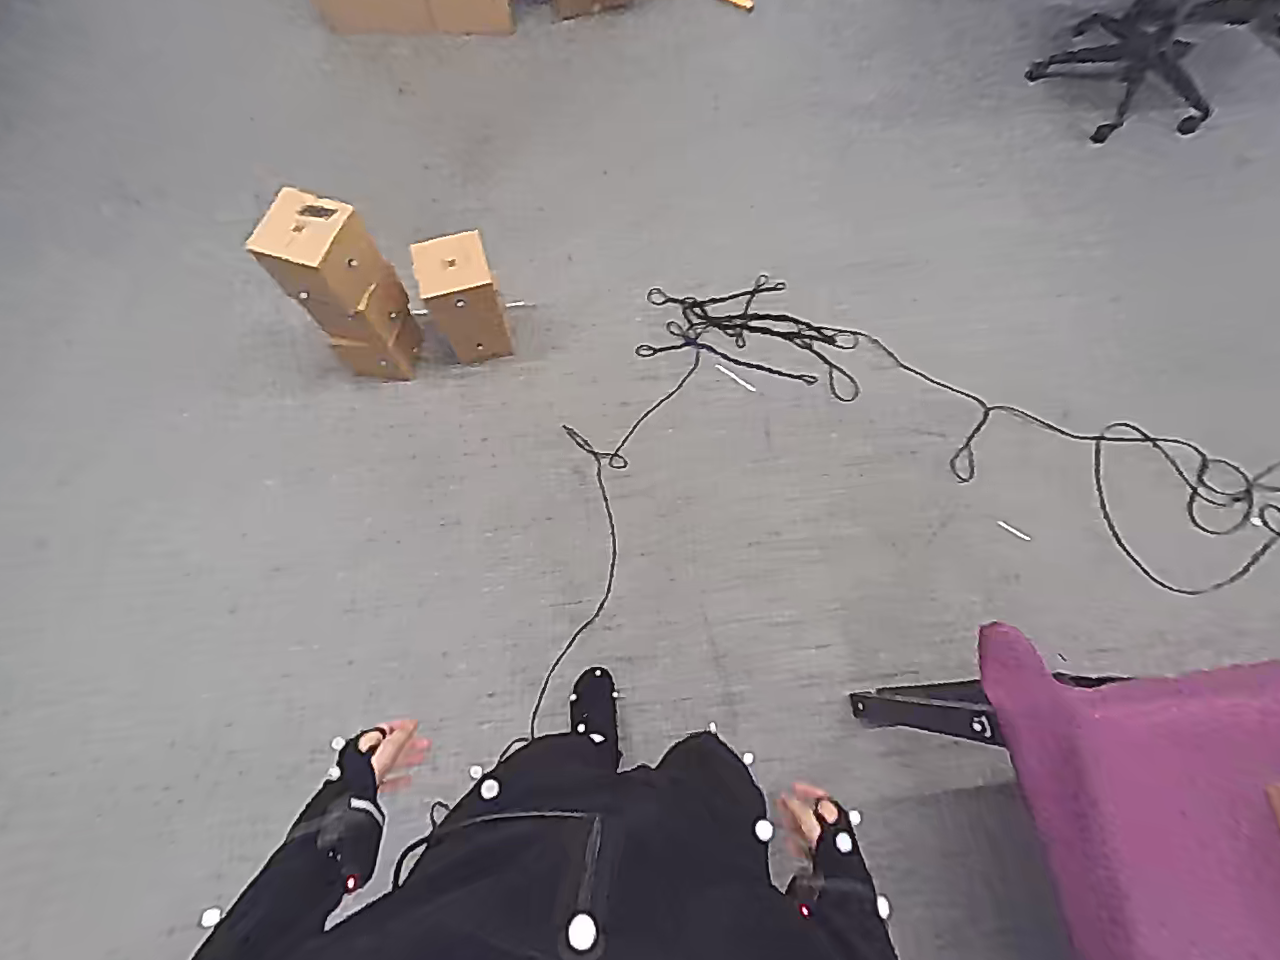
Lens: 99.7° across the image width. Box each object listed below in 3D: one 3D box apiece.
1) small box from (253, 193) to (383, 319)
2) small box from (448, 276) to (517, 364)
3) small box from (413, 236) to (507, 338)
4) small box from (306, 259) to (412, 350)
[{"bbox_3d":[-0.717,-0.504,1.232,0.168,0.176,0.179,16,71,3],"label":"small box"},{"bbox_3d":[-0.462,-0.454,1.567,0.168,0.176,0.179,-12,71,-6],"label":"small box"},{"bbox_3d":[-0.463,-0.495,1.409,0.179,0.176,0.168,-16,73,-7],"label":"small box"},{"bbox_3d":[-0.722,-0.457,1.390,0.179,0.176,0.168,12,70,1],"label":"small box"}]
